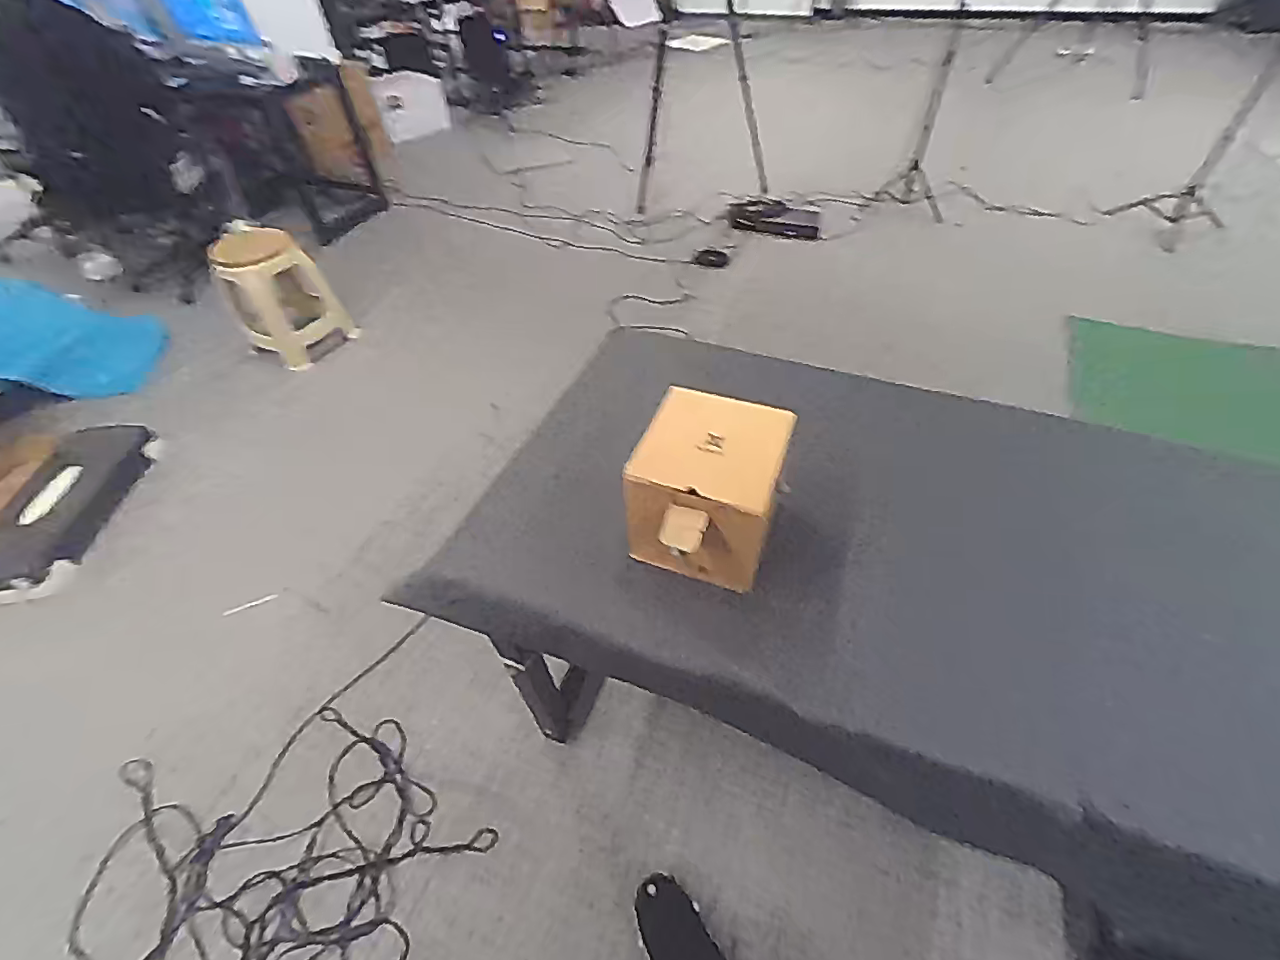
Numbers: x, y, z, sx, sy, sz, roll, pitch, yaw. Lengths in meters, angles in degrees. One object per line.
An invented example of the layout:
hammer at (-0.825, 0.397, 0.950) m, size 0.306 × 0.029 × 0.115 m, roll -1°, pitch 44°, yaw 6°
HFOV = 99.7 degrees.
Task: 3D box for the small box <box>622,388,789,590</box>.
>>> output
small box at (0.084, 0.012, 0.709) m, size 0.168 × 0.176 × 0.179 m, roll 15°, pitch 51°, yaw 15°
